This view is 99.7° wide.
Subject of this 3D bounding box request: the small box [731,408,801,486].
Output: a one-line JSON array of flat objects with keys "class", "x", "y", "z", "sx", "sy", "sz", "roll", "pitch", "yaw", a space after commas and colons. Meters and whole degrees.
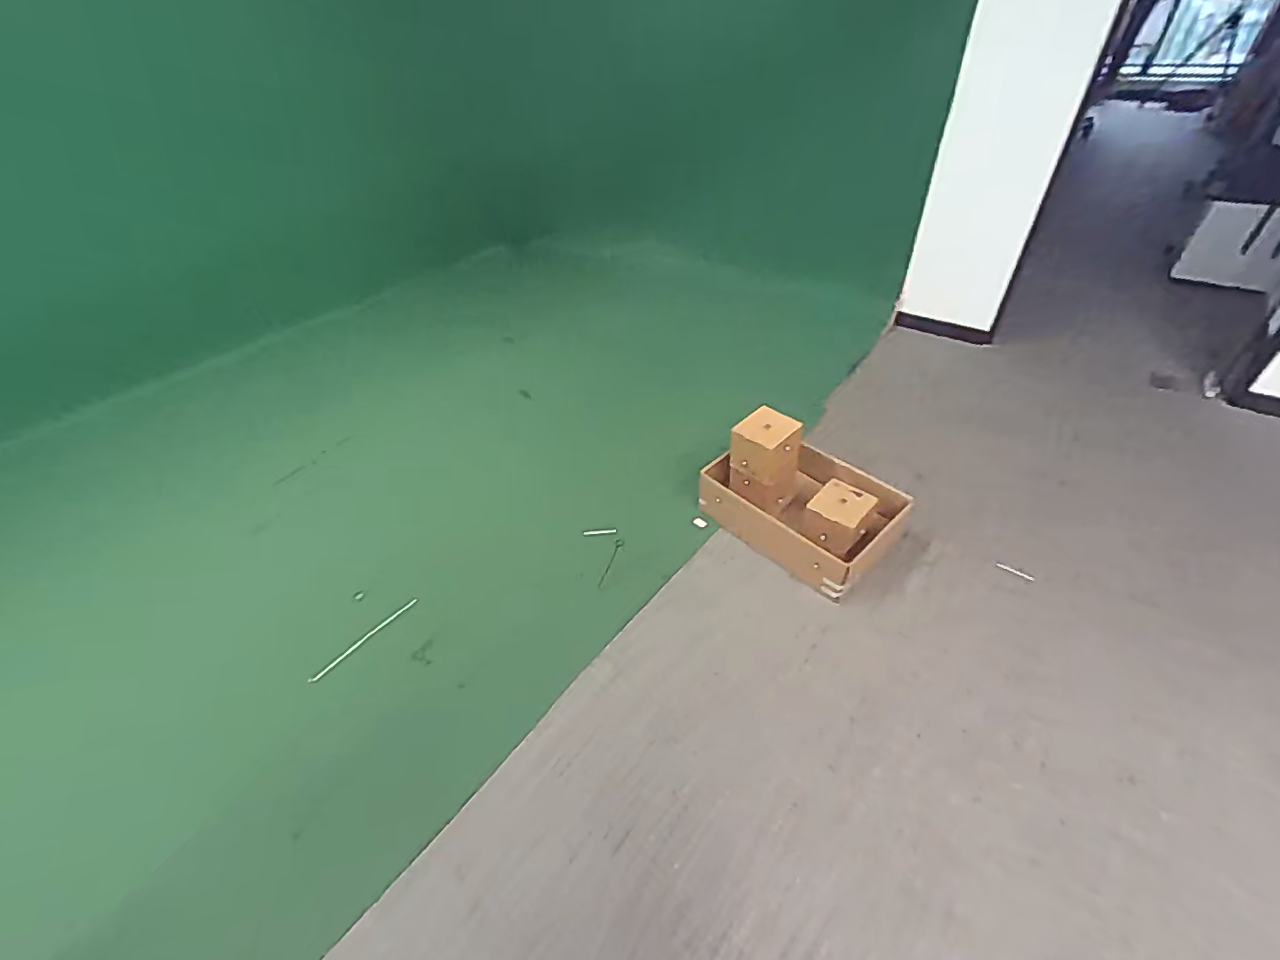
[{"class": "small box", "x": 0.427, "y": -0.114, "z": 1.866, "sx": 0.179, "sy": 0.176, "sz": 0.168, "roll": -36, "pitch": 51, "yaw": -26}]
